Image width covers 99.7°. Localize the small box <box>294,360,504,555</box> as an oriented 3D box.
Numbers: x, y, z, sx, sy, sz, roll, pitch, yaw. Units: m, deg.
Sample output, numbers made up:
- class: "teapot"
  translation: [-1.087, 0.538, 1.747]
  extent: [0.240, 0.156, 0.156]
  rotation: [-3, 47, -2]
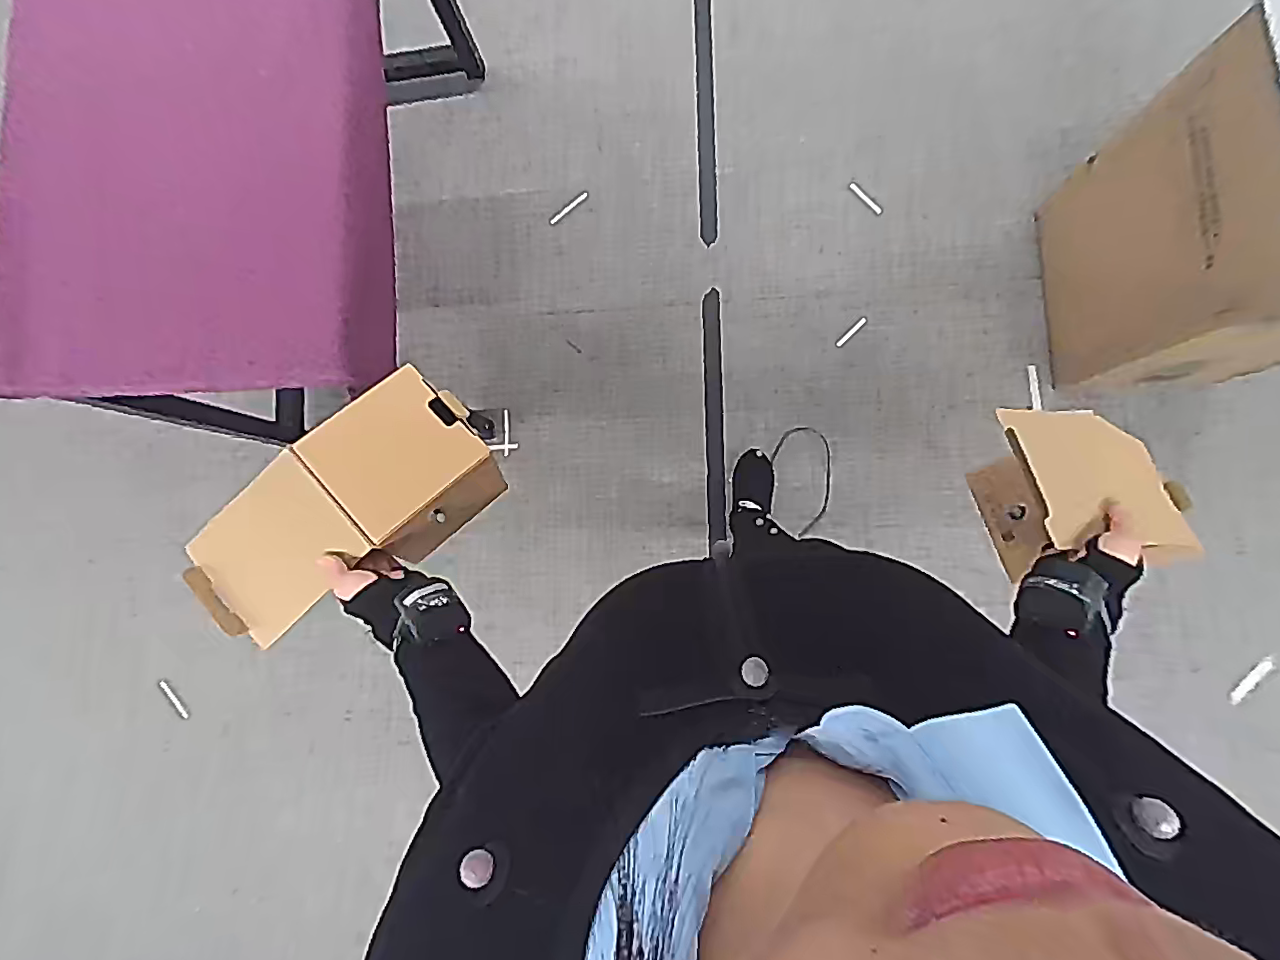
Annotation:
- class: "small box"
  translation: [-0.307, -0.019, 0.732]
  extent: [0.179, 0.176, 0.168]
  rotation: [-42, 82, -16]
